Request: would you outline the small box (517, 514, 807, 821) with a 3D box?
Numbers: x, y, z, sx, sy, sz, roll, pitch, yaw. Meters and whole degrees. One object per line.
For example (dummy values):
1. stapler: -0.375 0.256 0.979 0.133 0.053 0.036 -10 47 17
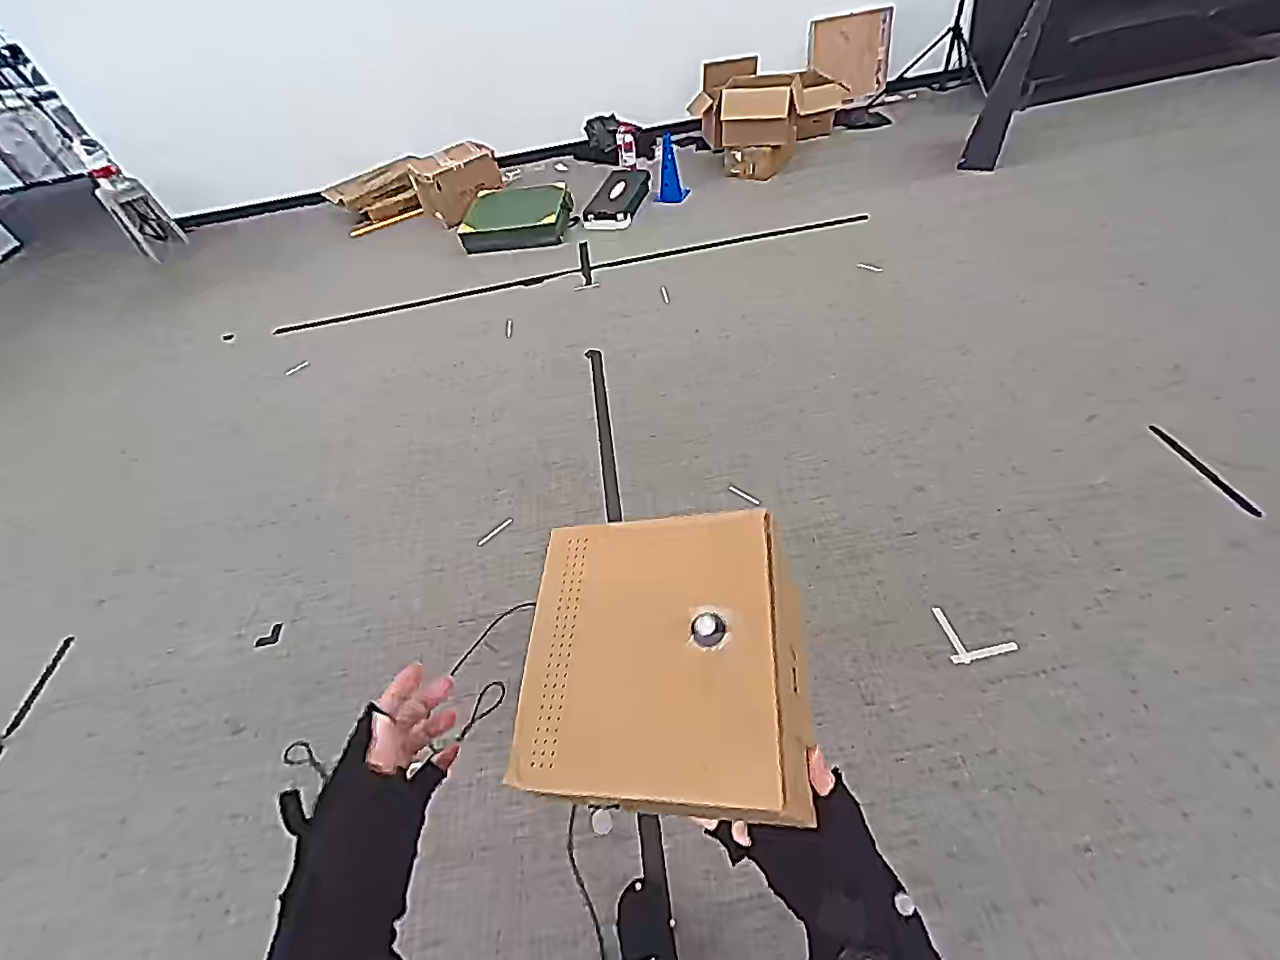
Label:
1. small box: 0.027 0.146 0.411 0.176 0.168 0.179 -7 54 19
